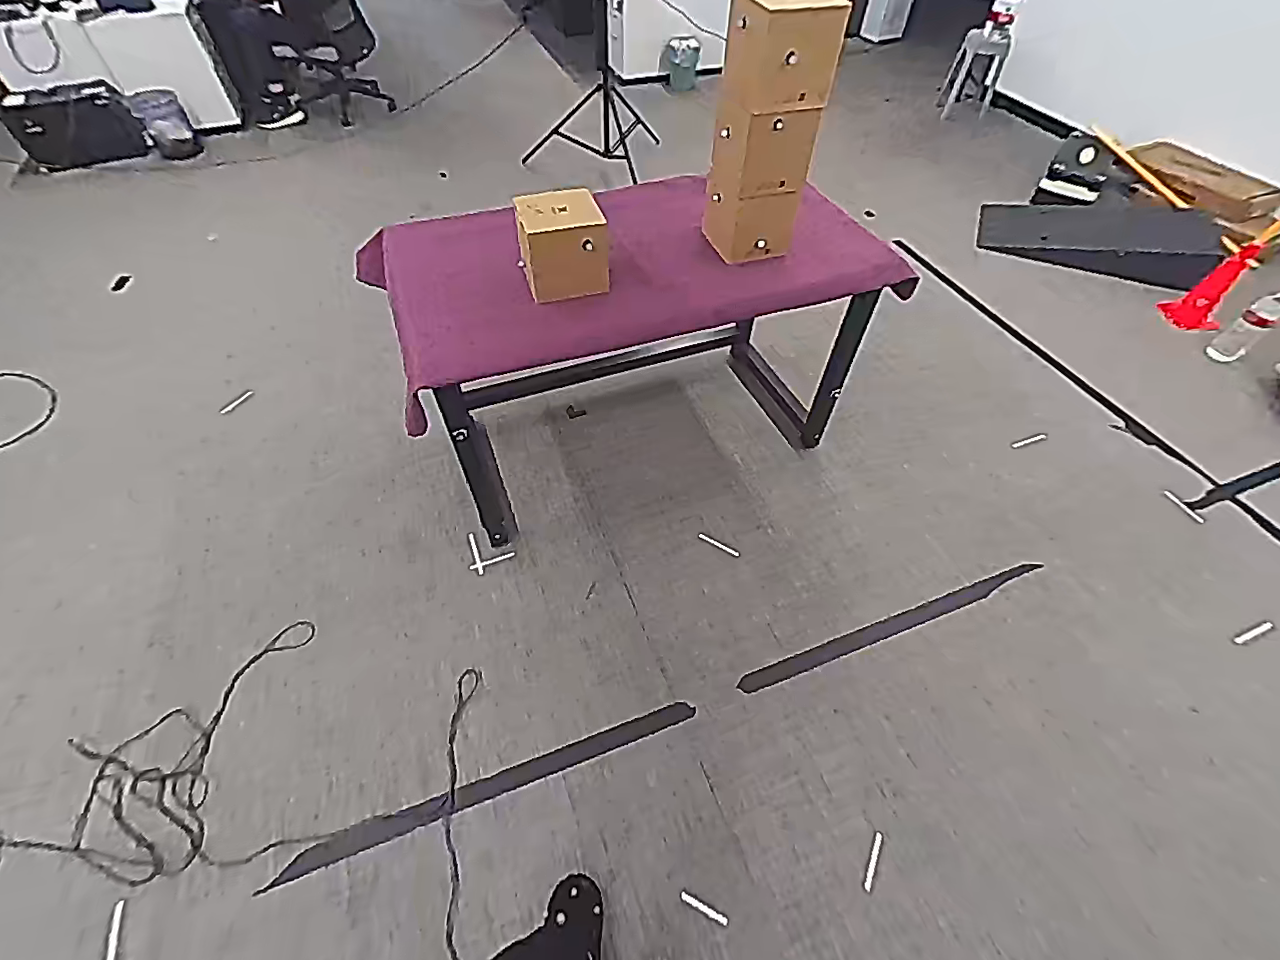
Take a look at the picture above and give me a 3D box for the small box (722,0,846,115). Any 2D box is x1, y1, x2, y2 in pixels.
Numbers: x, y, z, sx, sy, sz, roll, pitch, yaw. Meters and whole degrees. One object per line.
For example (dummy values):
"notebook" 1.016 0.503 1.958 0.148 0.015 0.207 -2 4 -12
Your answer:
"small box" 0.275 -0.850 1.078 0.168 0.176 0.179 -14 54 -10

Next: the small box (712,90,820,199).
"small box" 0.270 -0.756 1.212 0.168 0.176 0.179 -13 53 -10

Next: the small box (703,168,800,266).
"small box" 0.266 -0.660 1.344 0.168 0.176 0.179 -15 55 -12

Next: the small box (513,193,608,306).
"small box" -0.177 -0.523 1.231 0.179 0.176 0.168 -15 54 -11
